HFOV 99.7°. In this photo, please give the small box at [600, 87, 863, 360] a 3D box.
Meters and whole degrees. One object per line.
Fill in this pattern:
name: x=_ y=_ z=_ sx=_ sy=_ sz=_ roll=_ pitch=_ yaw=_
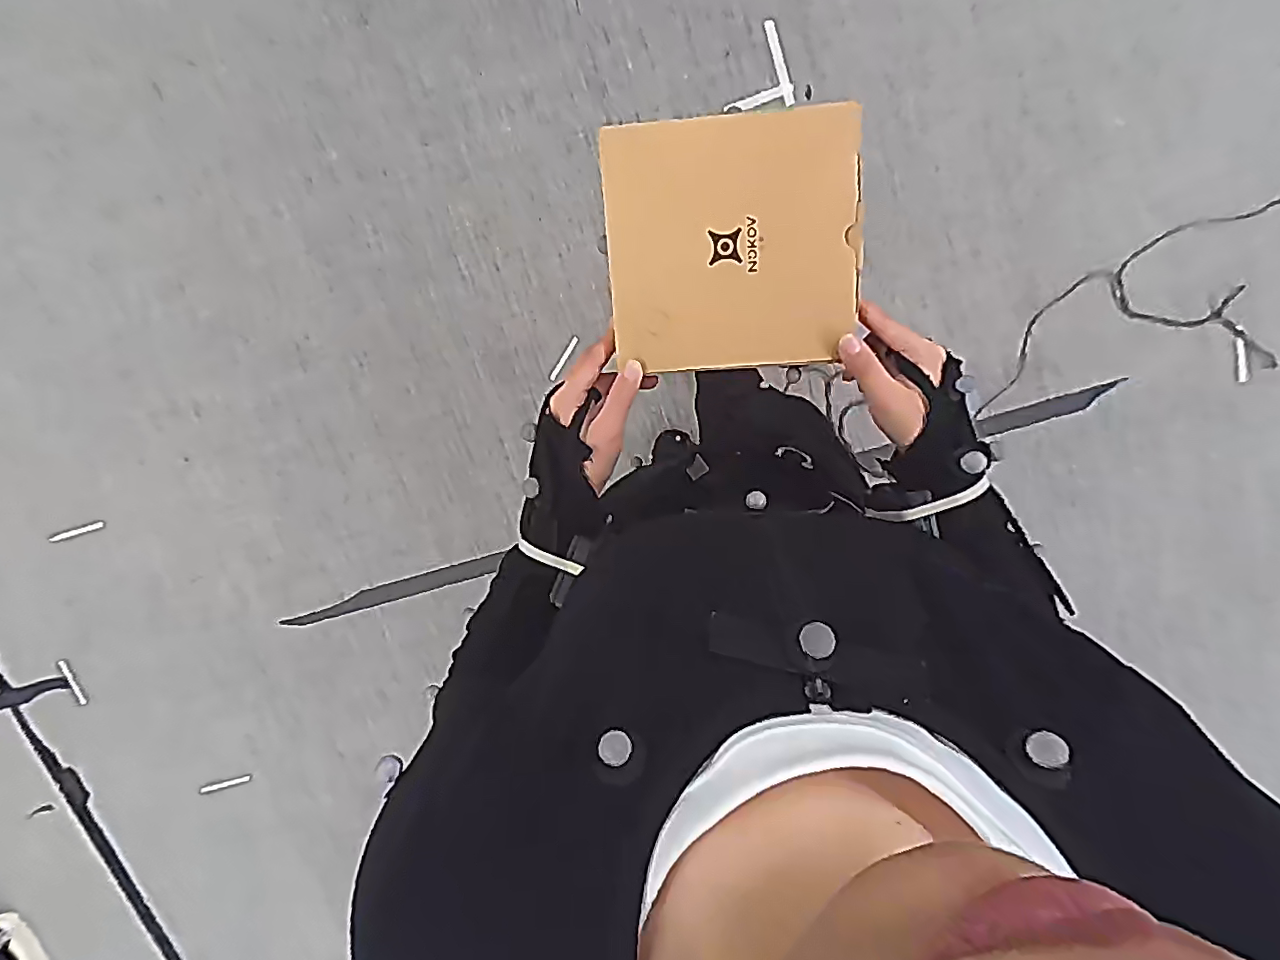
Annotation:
small box: x=0.069 y=-0.189 z=0.451 sx=0.179 sy=0.176 sz=0.168 roll=-4 pitch=103 yaw=3
